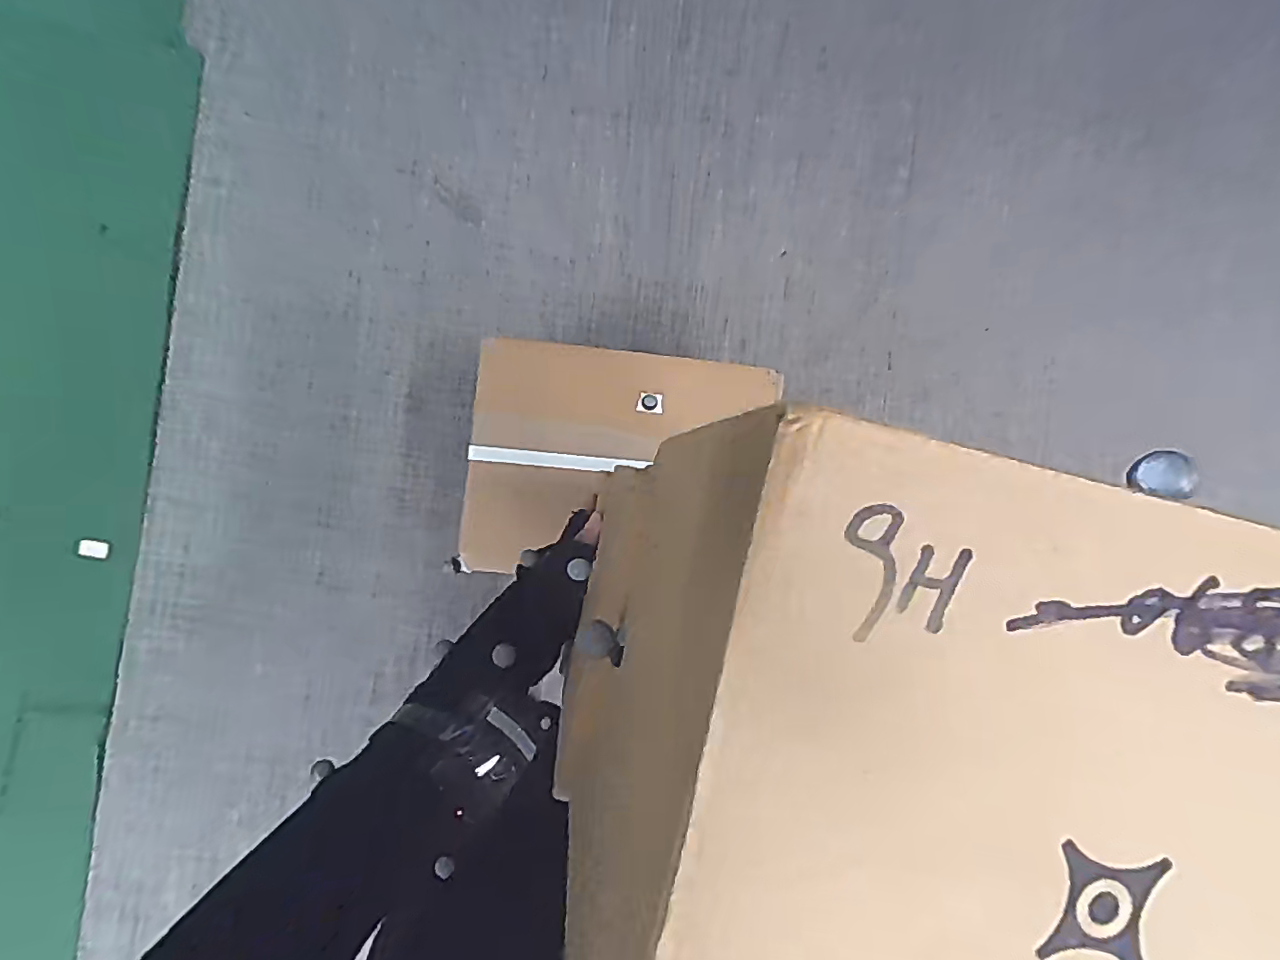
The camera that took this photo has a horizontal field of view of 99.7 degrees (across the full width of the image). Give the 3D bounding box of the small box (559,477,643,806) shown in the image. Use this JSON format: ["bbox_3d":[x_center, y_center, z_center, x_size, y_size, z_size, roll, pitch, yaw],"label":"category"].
[{"bbox_3d":[0.050,0.094,0.355,0.179,0.176,0.168,12,91,-7],"label":"small box"}]
